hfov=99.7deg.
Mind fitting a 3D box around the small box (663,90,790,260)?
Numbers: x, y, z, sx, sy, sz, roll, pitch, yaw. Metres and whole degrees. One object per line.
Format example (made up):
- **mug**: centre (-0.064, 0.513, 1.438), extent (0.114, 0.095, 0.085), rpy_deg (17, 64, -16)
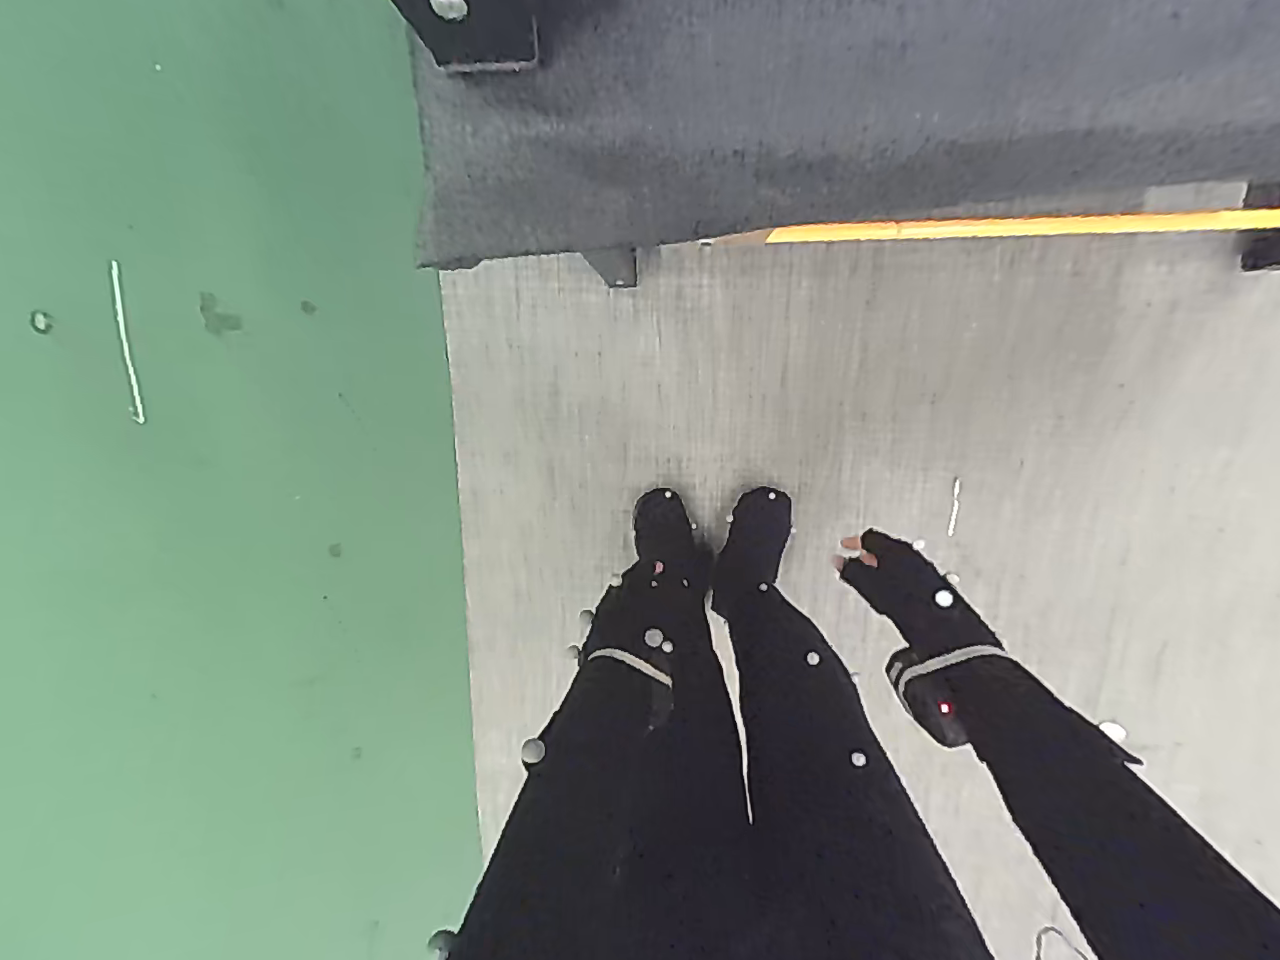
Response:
- **small box**: centre (0.117, -0.434, 0.795), extent (0.168, 0.176, 0.179), rpy_deg (-1, 103, 3)
